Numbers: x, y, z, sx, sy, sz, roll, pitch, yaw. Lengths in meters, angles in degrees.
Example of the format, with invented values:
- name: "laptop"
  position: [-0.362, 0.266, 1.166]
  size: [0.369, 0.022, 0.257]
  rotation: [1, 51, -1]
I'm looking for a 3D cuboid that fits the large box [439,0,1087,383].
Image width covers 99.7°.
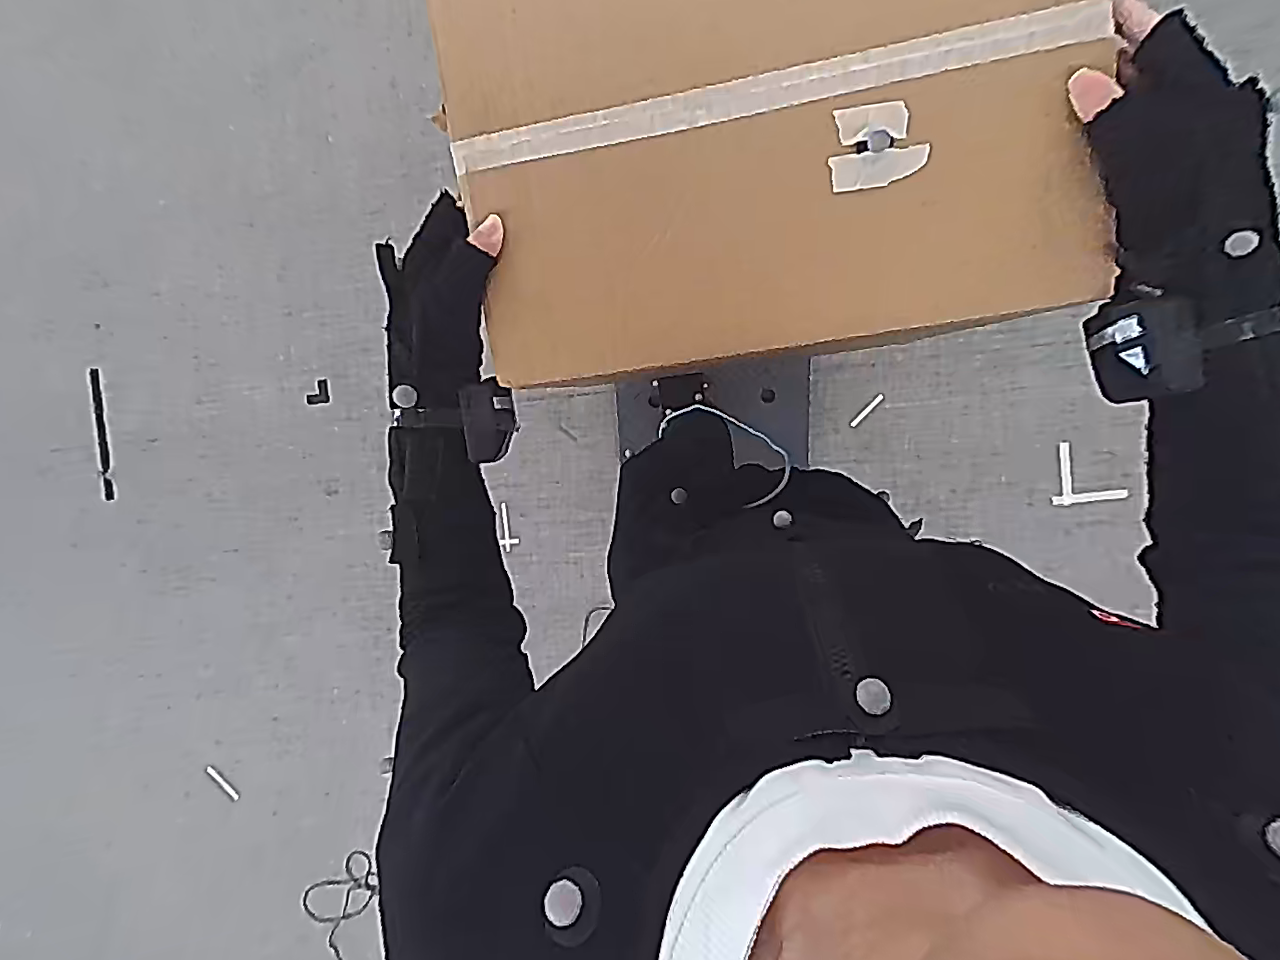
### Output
- name: "large box"
  position: [0.088, -0.277, 0.502]
  size: [0.408, 0.320, 0.320]
  rotation: [-7, 99, 7]

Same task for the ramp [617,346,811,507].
- name: "ramp"
  position: [0.175, -0.415, 1.335]
  size: [0.509, 0.206, 0.991]
  rotation: [-4, 95, 6]
